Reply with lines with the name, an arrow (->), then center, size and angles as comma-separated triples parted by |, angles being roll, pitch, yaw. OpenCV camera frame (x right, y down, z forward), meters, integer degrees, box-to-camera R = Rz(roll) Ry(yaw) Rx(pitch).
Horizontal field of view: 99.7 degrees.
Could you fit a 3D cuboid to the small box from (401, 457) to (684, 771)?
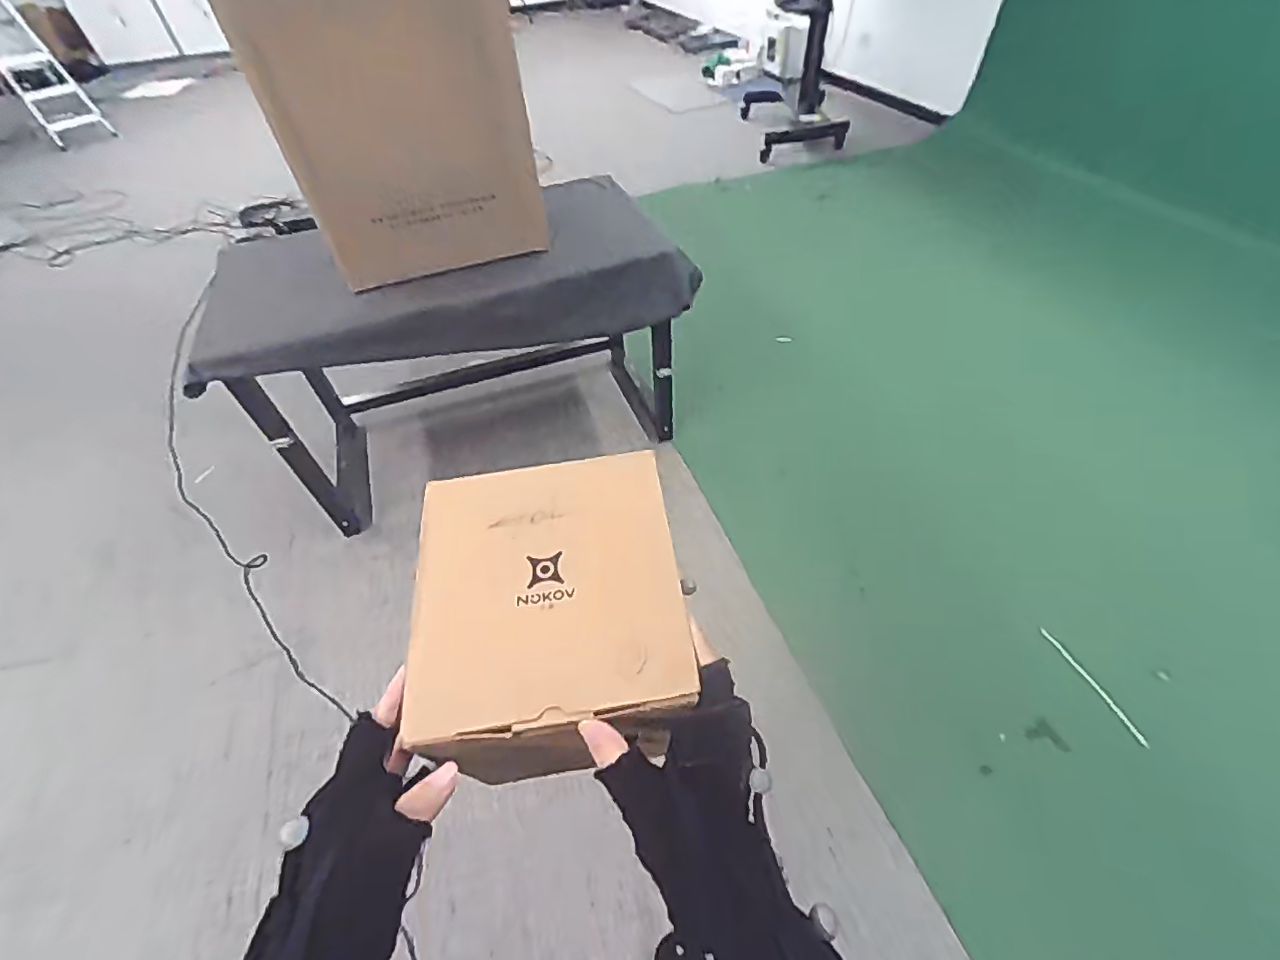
small box -> -0.060, 0.110, 0.413 | 0.168, 0.176, 0.179 | -9, 54, -3
